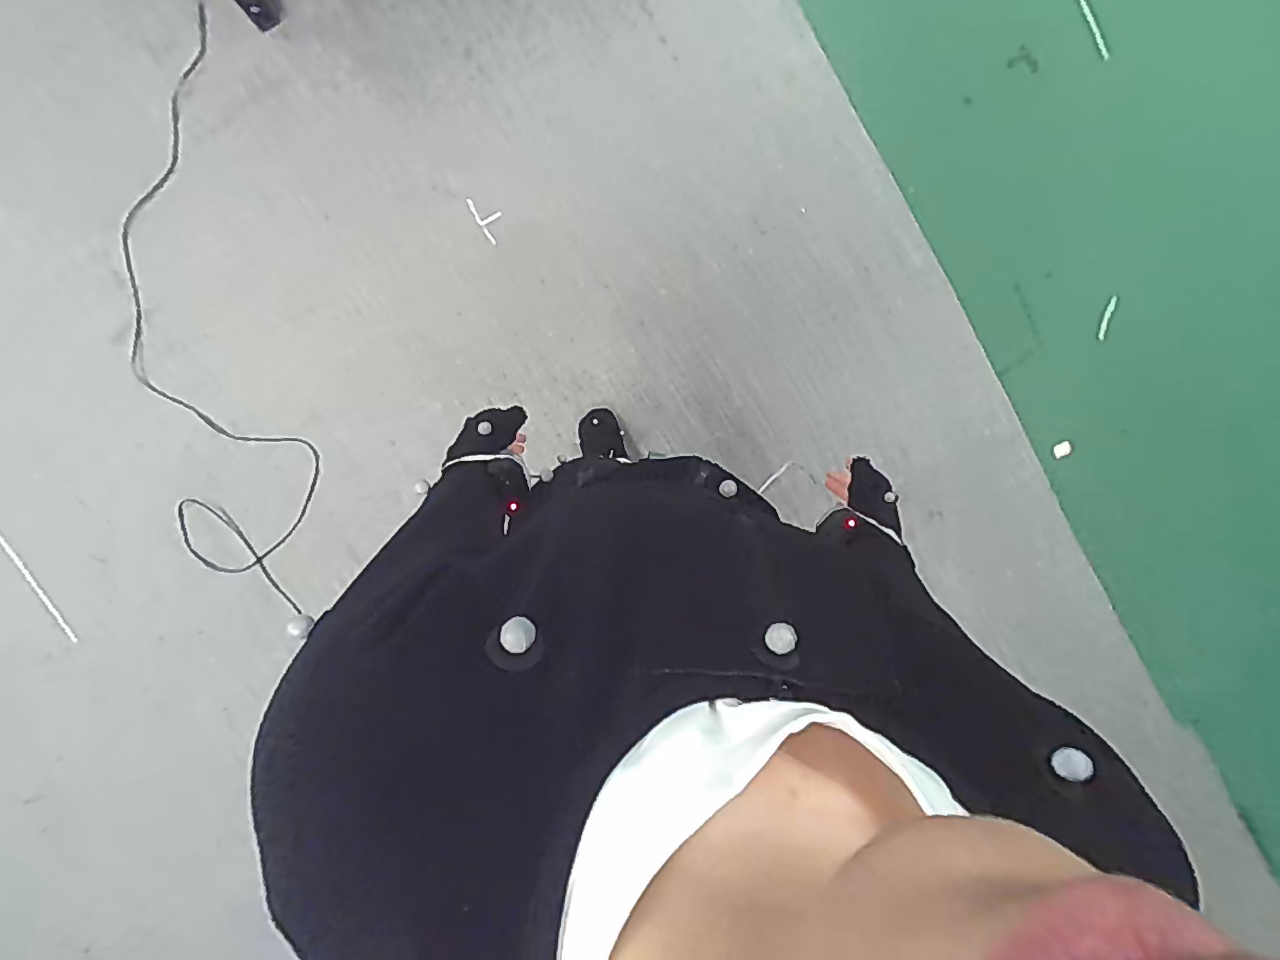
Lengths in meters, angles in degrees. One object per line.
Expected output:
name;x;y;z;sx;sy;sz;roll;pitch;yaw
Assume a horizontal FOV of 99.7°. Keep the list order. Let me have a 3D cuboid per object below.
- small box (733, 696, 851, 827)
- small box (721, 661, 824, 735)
small box;0.331;0.616;1.217;0.168;0.176;0.179;-32;95;0
small box;0.332;0.594;1.398;0.168;0.176;0.179;-37;96;-1
